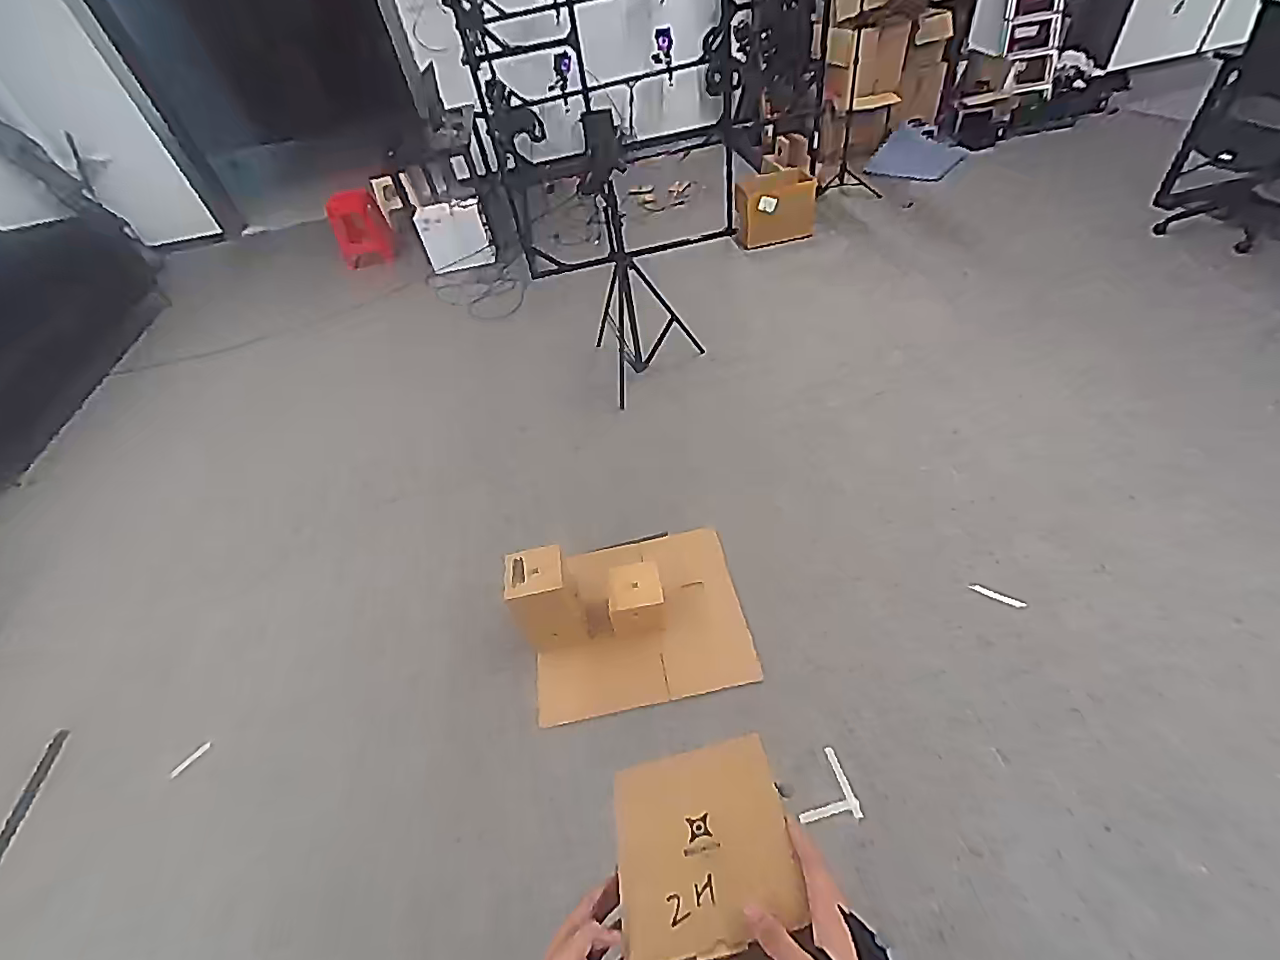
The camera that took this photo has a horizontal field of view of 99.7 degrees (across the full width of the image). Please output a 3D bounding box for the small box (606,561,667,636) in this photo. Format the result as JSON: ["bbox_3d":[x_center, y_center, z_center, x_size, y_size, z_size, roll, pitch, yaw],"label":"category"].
[{"bbox_3d":[-0.008,0.392,1.784,0.179,0.176,0.168,-11,46,0],"label":"small box"}]

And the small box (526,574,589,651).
[{"bbox_3d":[-0.269,0.440,1.786,0.179,0.176,0.168,-13,46,0],"label":"small box"}]

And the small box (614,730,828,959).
[{"bbox_3d":[0.079,0.401,0.557,0.168,0.176,0.179,-18,31,4],"label":"small box"}]
